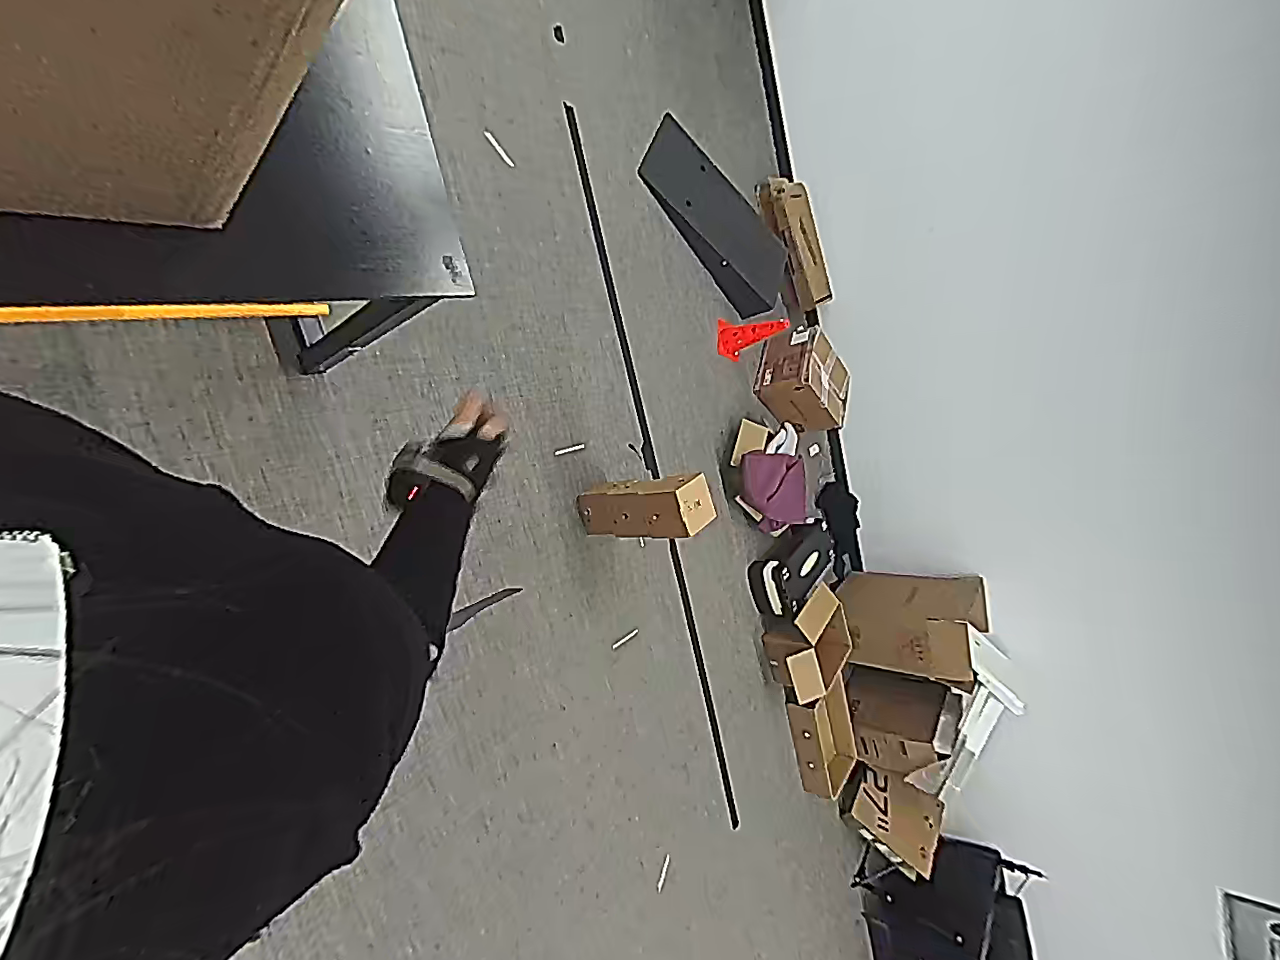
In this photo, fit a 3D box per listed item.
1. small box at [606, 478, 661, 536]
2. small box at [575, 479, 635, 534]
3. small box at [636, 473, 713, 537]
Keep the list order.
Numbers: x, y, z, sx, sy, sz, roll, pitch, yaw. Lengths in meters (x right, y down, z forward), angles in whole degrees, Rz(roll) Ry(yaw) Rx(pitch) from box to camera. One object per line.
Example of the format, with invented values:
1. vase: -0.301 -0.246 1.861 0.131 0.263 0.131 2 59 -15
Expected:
1. small box: -0.005 0.098 1.949 0.179 0.176 0.168 -24 103 -46
2. small box: -0.118 0.102 2.069 0.179 0.176 0.168 -25 103 -46
3. small box: 0.117 0.084 1.837 0.179 0.176 0.168 -31 107 -45
